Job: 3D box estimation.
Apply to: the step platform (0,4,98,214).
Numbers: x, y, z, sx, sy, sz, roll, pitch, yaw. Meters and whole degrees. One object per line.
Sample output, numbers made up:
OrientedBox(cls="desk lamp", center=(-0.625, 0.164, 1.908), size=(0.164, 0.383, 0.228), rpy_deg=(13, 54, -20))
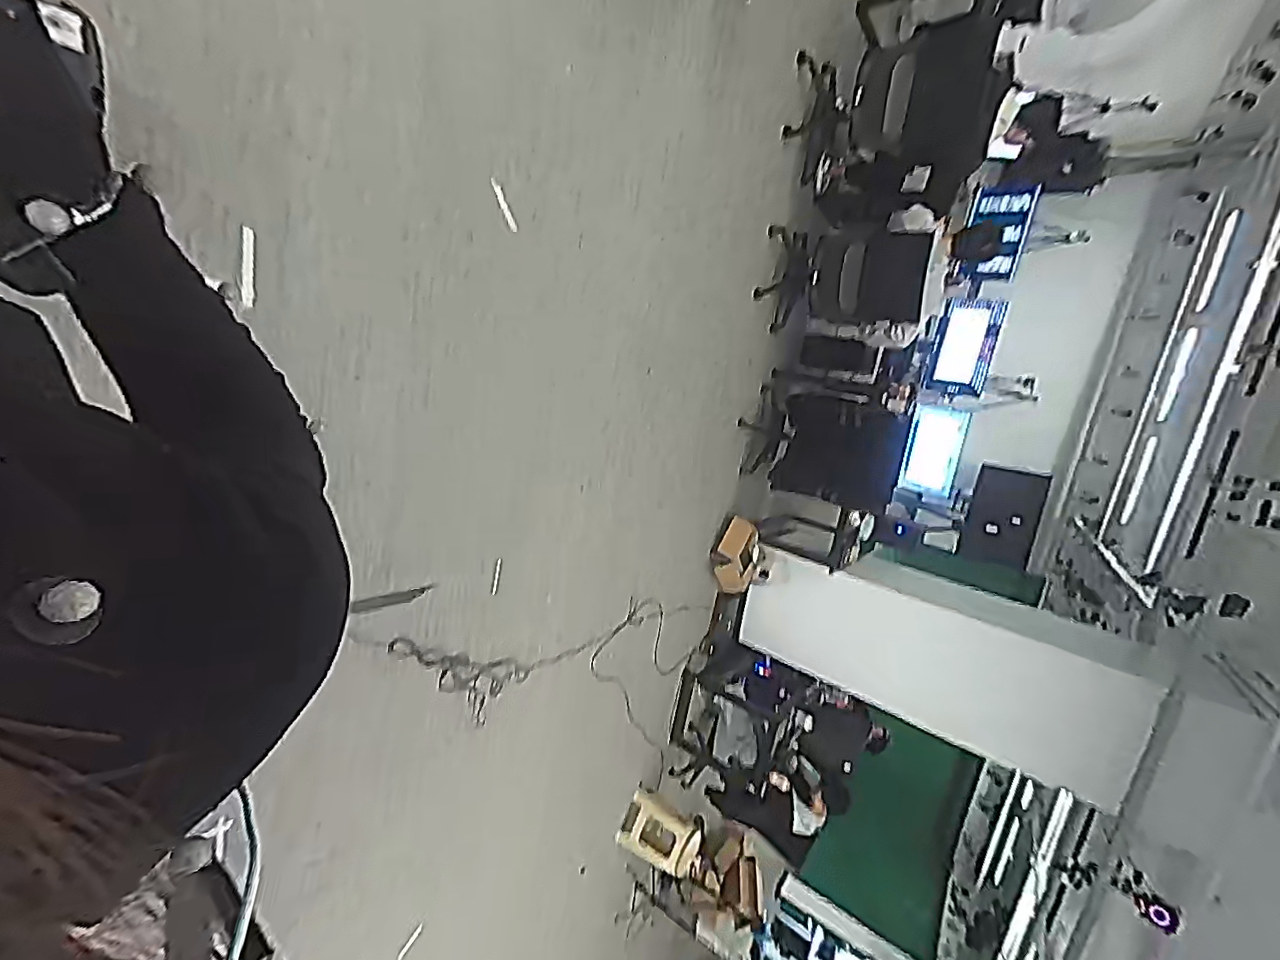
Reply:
OrientedBox(cls="step platform", center=(-1.137, -0.612, 0.652), size=(0.684, 0.204, 0.286), rpy_deg=(9, 97, -55))
